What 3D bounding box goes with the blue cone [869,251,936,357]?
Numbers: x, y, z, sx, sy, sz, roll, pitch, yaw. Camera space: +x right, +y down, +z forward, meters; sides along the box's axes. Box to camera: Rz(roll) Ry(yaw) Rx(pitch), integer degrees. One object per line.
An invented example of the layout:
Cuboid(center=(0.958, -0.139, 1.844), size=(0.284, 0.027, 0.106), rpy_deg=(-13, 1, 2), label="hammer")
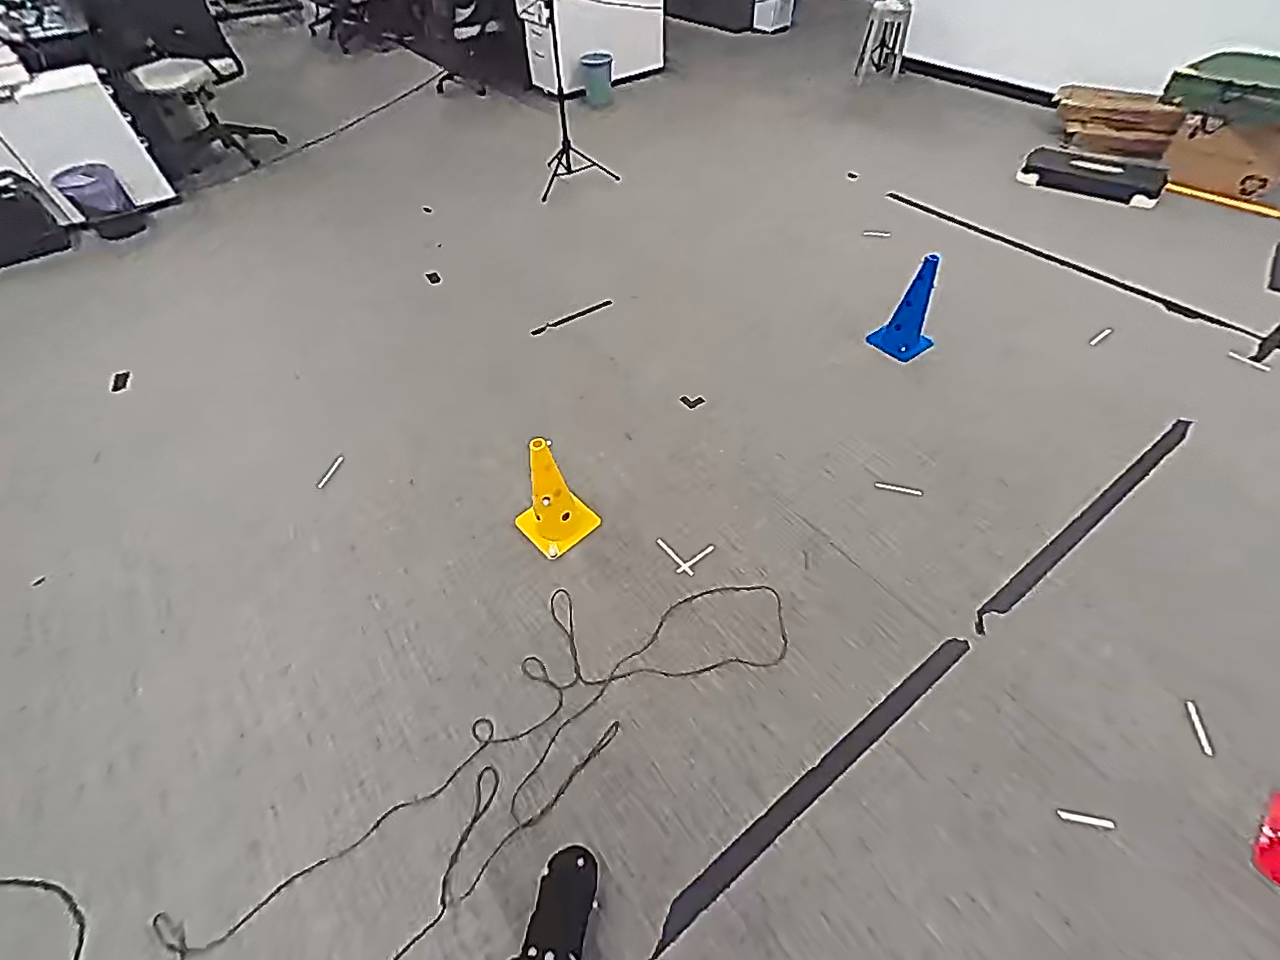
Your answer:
Cuboid(center=(1.031, -0.667, 2.027), size=(0.193, 0.380, 0.192), rpy_deg=(-30, 55, -21), label="blue cone")
